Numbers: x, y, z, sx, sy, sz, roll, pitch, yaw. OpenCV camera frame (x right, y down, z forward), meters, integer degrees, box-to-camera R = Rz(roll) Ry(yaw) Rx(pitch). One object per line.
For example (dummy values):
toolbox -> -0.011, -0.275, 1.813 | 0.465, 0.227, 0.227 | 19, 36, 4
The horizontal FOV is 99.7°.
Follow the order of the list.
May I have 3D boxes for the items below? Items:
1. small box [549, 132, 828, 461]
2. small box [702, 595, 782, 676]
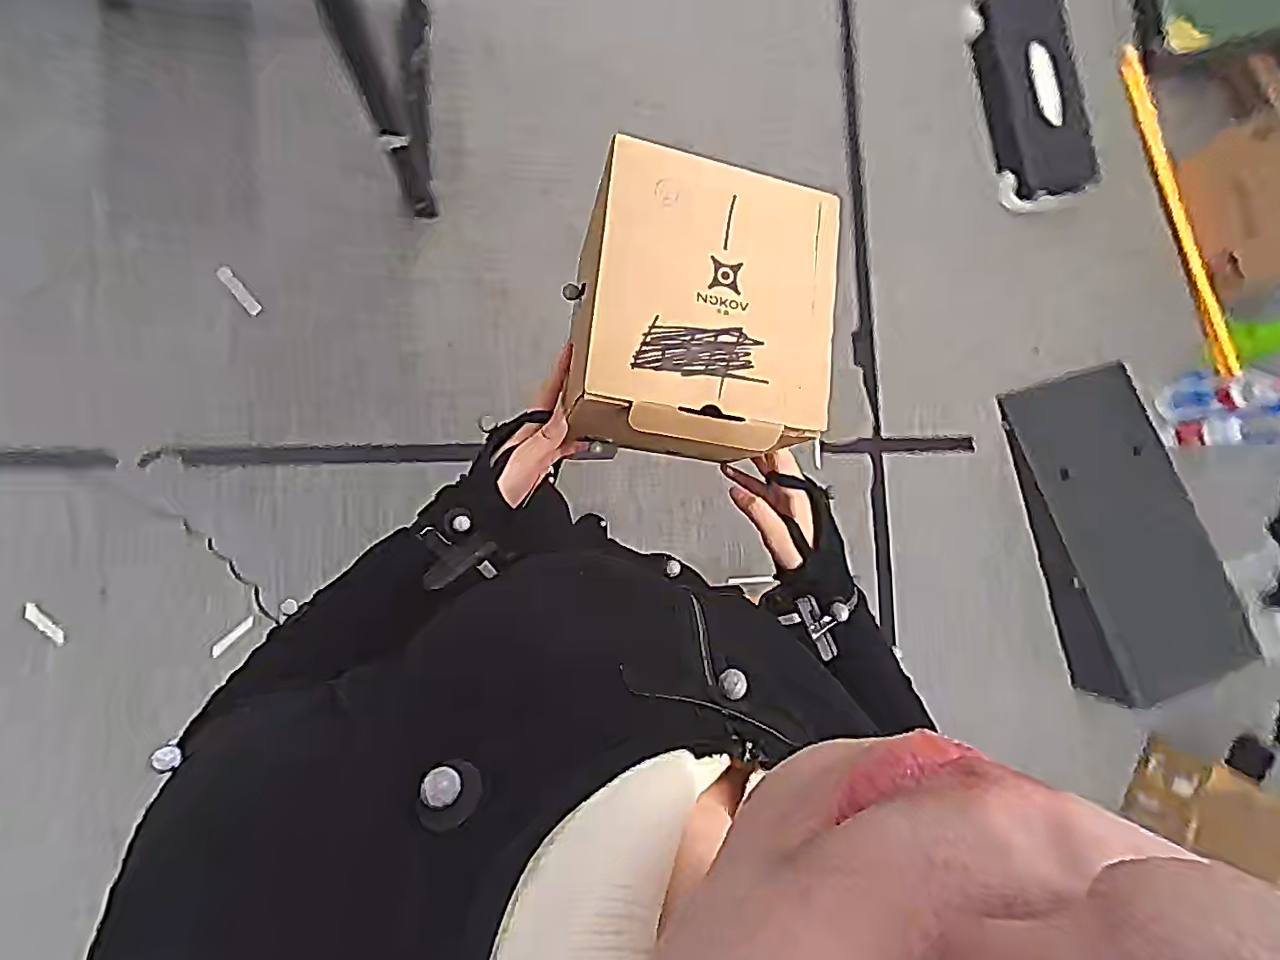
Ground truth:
small box -> 0.023, -0.115, 0.422 | 0.168, 0.176, 0.179 | 7, 83, -14
small box -> 0.272, 0.415, 1.468 | 0.168, 0.176, 0.179 | 1, 88, -10
